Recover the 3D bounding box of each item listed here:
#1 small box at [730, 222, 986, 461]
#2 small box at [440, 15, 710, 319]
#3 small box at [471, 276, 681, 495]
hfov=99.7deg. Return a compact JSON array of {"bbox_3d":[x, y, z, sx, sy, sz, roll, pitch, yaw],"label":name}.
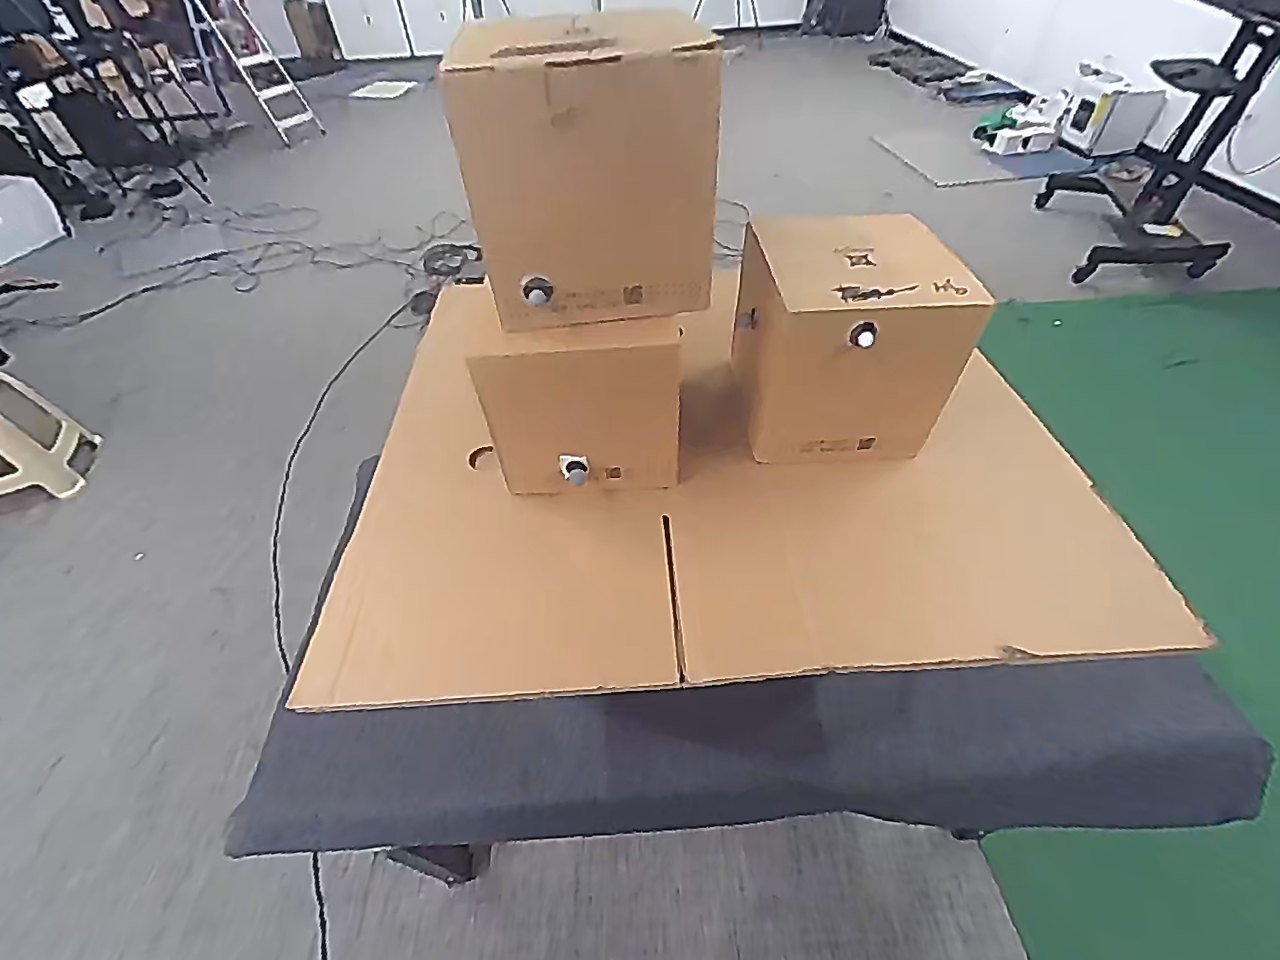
[{"bbox_3d":[0.189,-0.137,0.537,0.168,0.176,0.179,-2,47,-1],"label":"small box"},{"bbox_3d":[-0.040,-0.242,0.430,0.168,0.176,0.179,-6,47,-2],"label":"small box"},{"bbox_3d":[-0.051,-0.106,0.530,0.168,0.176,0.179,-5,49,0],"label":"small box"}]
